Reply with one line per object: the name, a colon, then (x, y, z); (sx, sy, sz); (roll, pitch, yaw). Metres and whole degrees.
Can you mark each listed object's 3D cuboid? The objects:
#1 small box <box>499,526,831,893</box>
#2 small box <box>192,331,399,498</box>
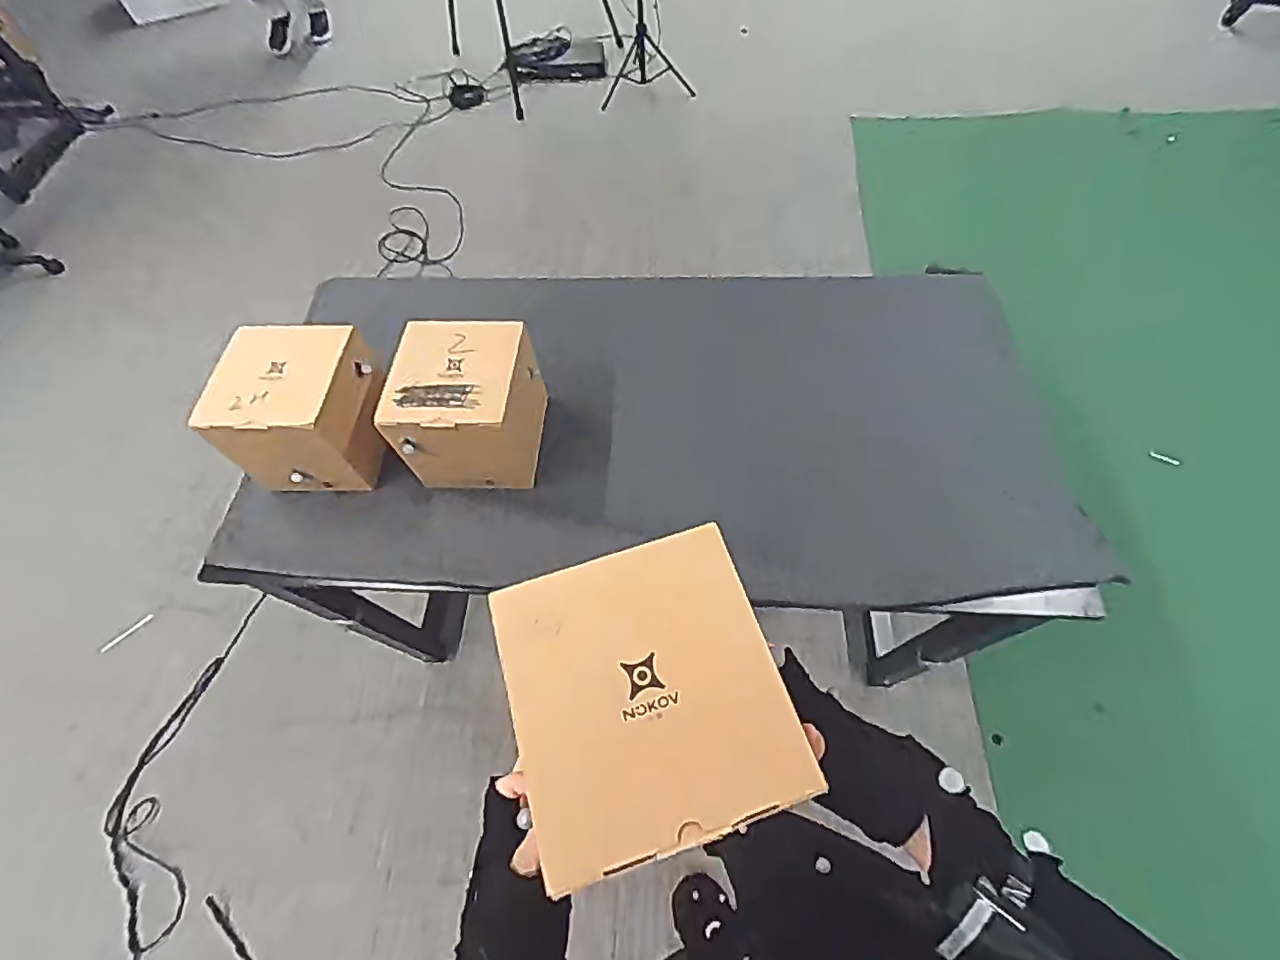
small box: (0.007, 0.163, 0.405); (0.168, 0.176, 0.179); (-17, 64, -8)
small box: (-0.473, -0.091, 0.781); (0.168, 0.176, 0.179); (0, 60, 2)
